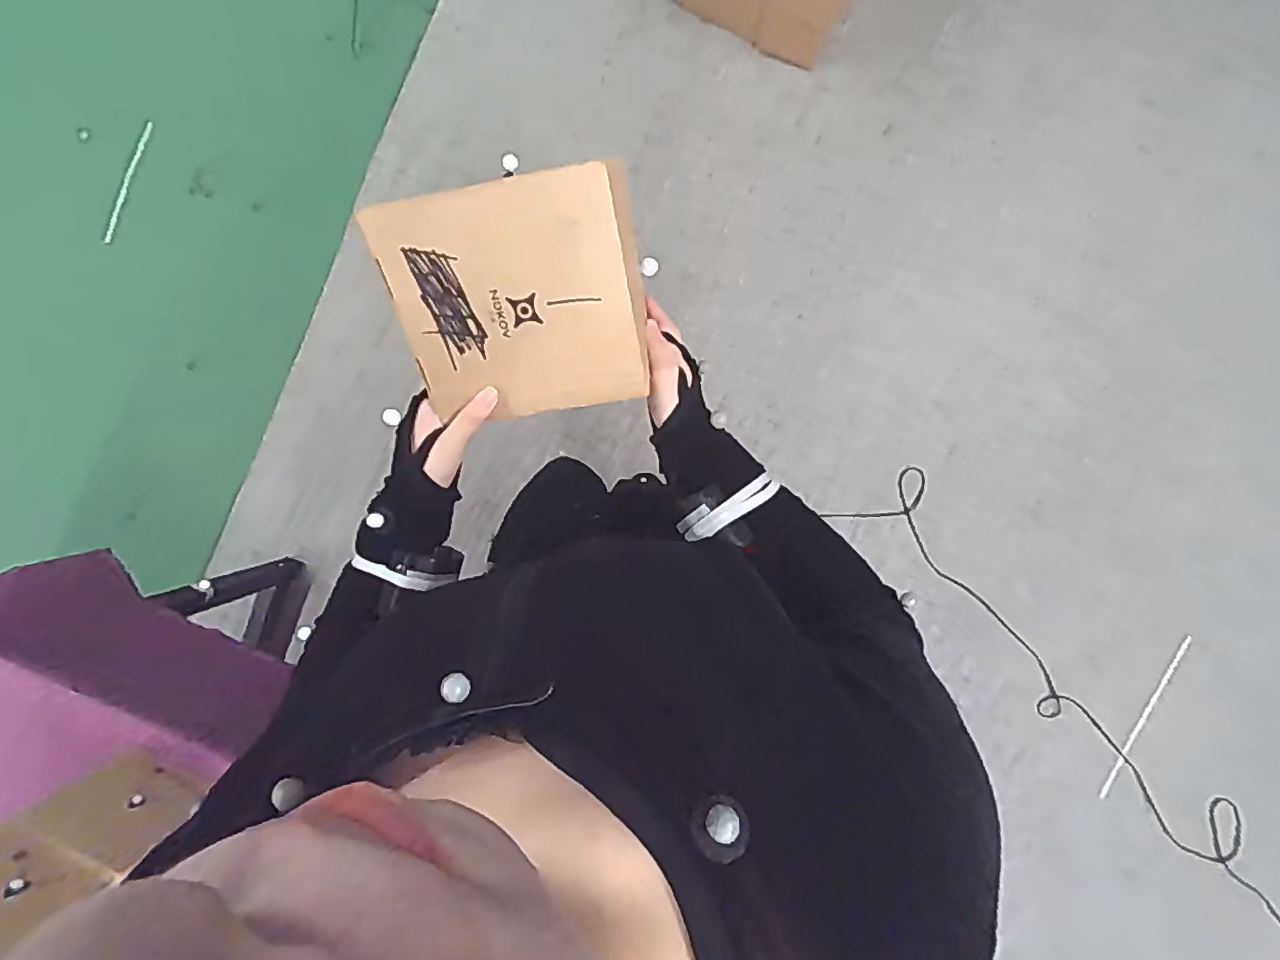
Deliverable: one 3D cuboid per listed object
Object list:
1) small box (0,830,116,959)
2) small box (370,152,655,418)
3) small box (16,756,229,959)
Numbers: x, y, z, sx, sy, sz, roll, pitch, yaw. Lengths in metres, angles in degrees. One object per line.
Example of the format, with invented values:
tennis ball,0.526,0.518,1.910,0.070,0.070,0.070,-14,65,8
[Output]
small box,-0.753,0.548,0.601,0.168,0.176,0.179,24,94,2
small box,-0.084,-0.170,0.462,0.179,0.176,0.168,-8,121,6
small box,-0.734,0.533,0.762,0.168,0.176,0.179,24,95,3
